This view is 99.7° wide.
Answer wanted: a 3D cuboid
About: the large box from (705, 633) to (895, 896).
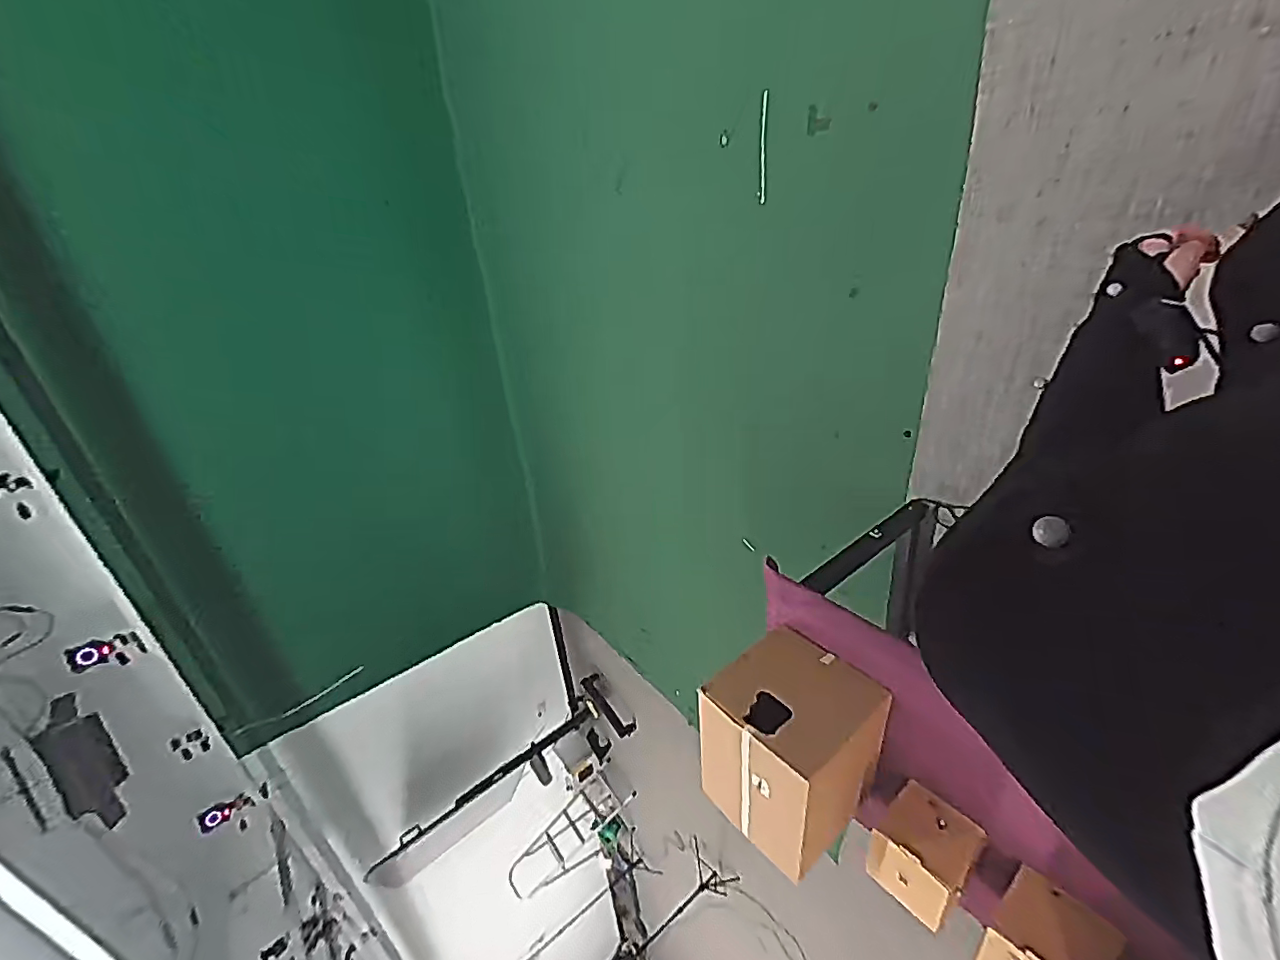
[{"bbox_3d":[0.378,0.666,1.313,0.320,0.320,0.408,26,130,45],"label":"large box"}]
